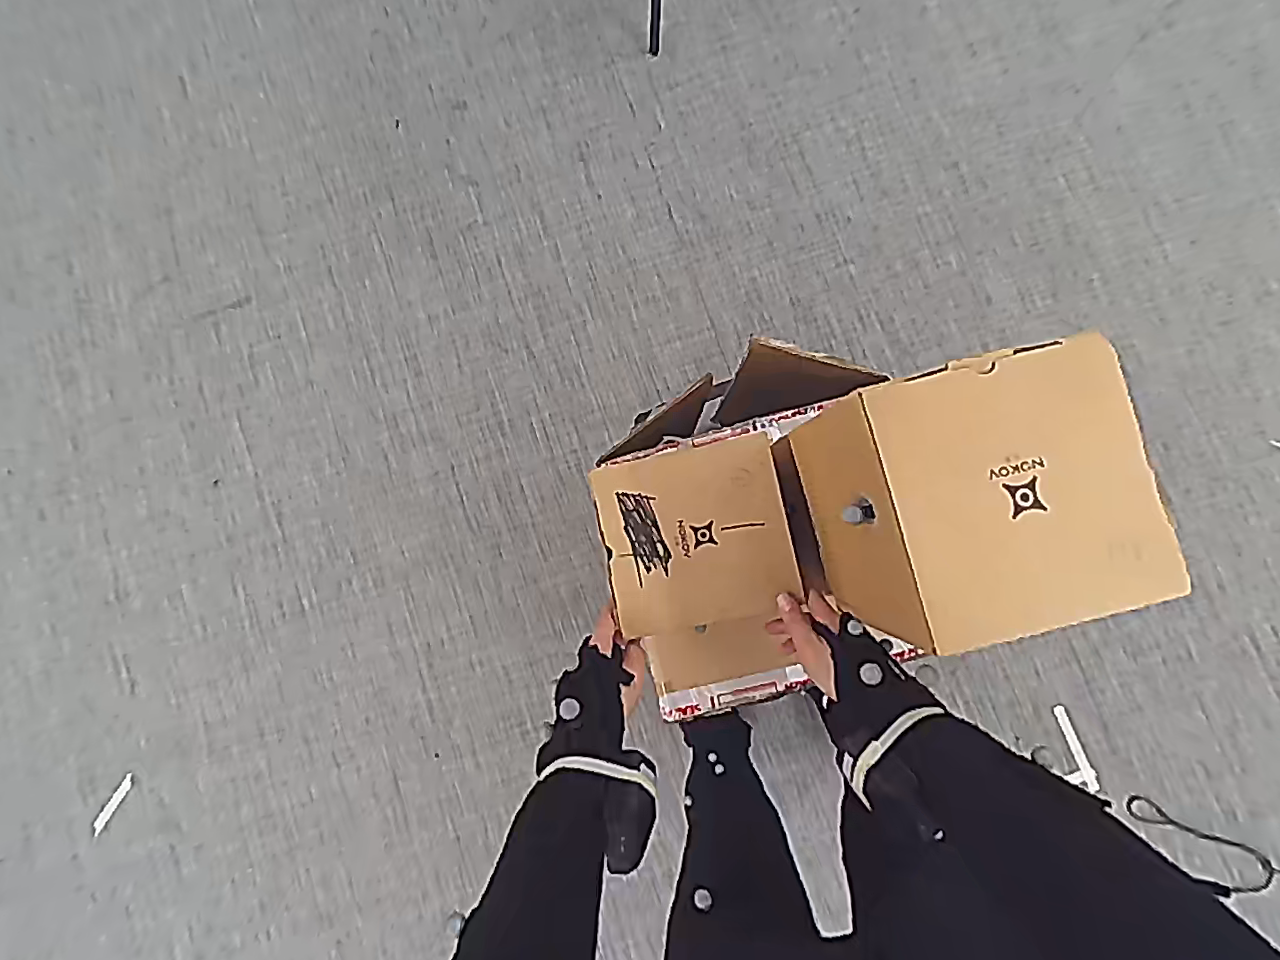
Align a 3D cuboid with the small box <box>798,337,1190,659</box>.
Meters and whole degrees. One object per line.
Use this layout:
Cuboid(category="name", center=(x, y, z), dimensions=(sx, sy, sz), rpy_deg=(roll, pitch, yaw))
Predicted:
Cuboid(category="small box", center=(0.241, 0.016, 0.420), dimensions=(0.168, 0.176, 0.179), rpy_deg=(-14, 84, -1))
